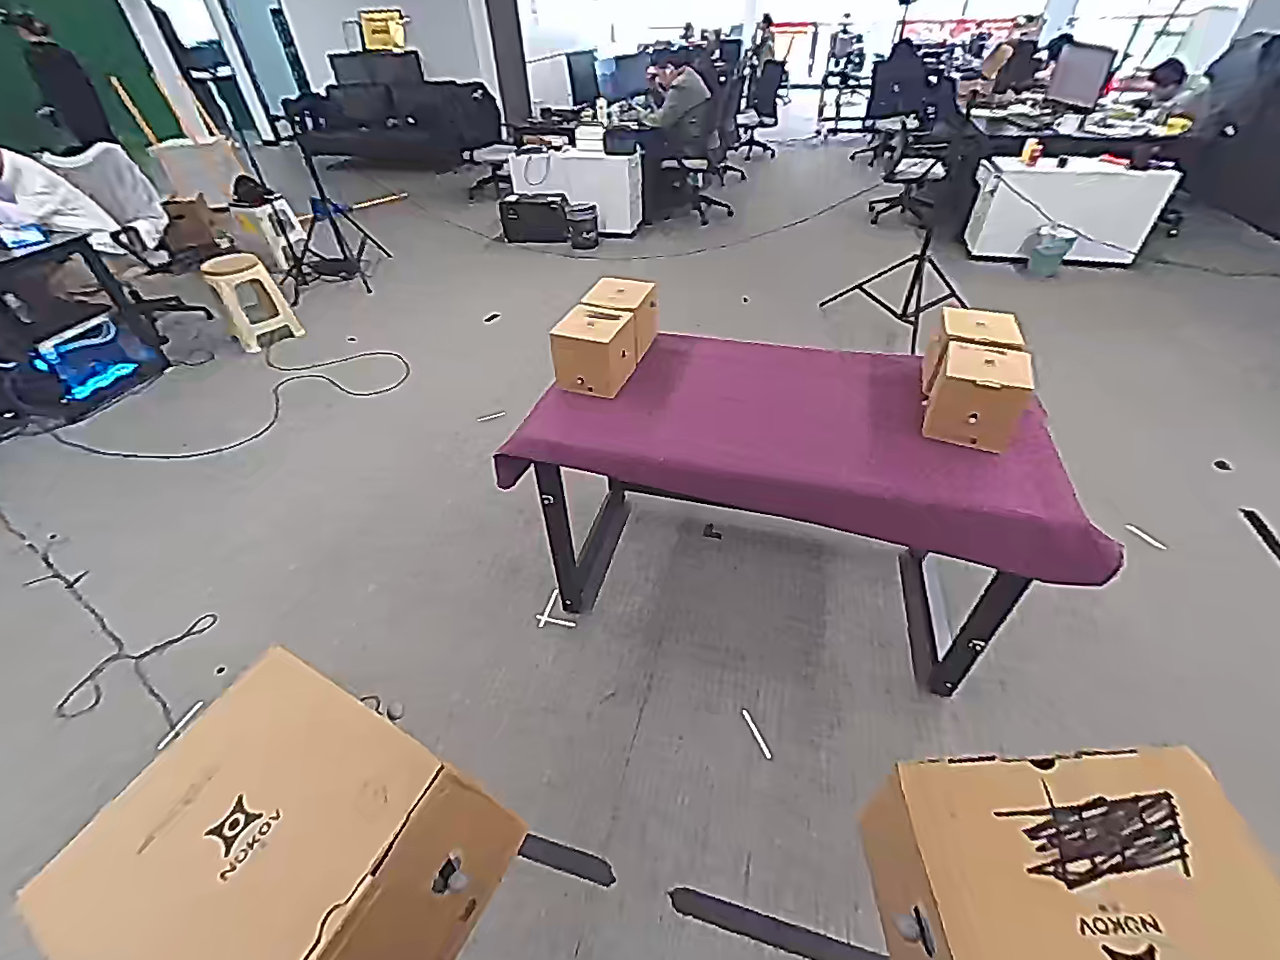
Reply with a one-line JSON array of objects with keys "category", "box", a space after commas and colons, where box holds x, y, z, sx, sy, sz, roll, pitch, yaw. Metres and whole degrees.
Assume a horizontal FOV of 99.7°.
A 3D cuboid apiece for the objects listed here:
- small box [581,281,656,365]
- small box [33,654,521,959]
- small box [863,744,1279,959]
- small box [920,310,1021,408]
[{"category": "small box", "box": [-0.057, -0.458, 1.574, 0.168, 0.176, 0.179, 12, 44, 16]}, {"category": "small box", "box": [-0.208, 0.254, 0.361, 0.179, 0.176, 0.168, 16, 51, 25]}, {"category": "small box", "box": [0.246, 0.278, 0.319, 0.168, 0.176, 0.179, -7, 47, 6]}, {"category": "small box", "box": [0.826, -0.307, 1.372, 0.168, 0.176, 0.179, 13, 43, 15]}]
